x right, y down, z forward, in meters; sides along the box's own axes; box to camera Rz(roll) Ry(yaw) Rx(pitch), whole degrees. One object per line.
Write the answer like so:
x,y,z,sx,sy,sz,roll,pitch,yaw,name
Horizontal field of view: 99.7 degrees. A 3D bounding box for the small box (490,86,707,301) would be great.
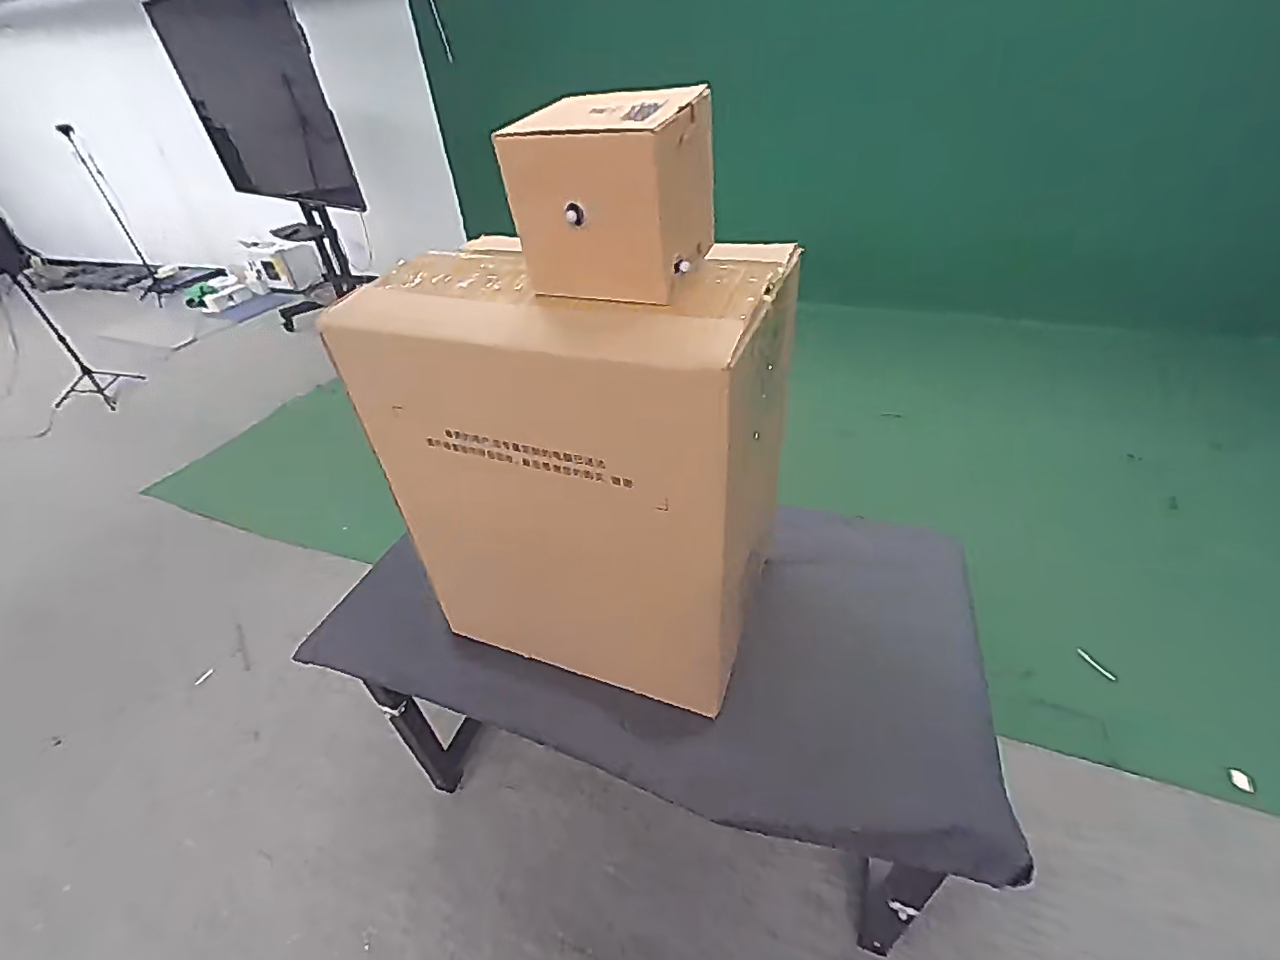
-0.029,-0.317,0.606,0.179,0.176,0.168,12,48,21,small box
